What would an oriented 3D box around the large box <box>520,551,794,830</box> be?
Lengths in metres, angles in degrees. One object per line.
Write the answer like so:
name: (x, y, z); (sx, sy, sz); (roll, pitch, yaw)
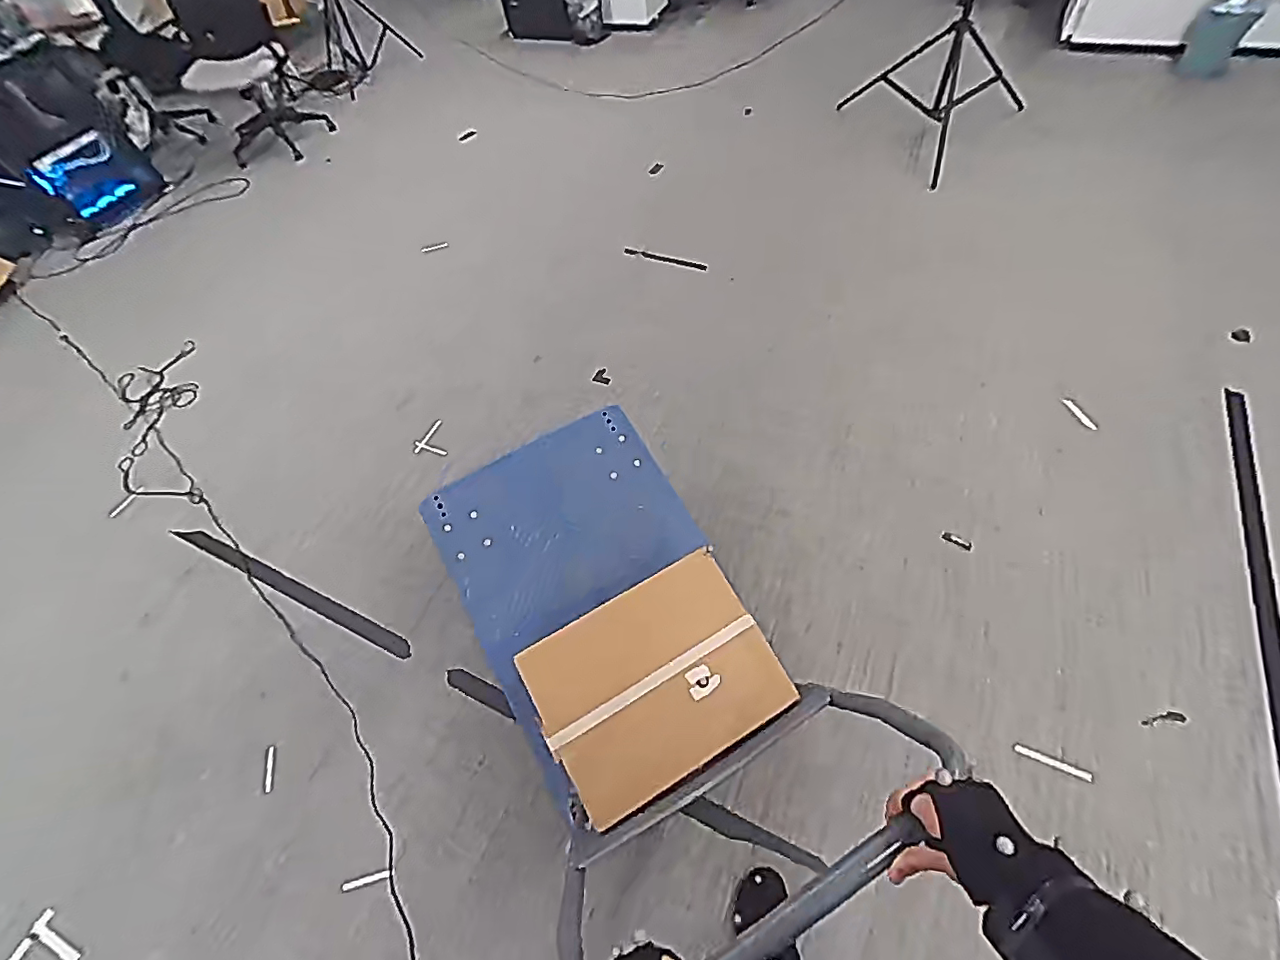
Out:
large box: (0.024, 0.407, 1.096); (0.408, 0.320, 0.320); (-29, 74, -13)
